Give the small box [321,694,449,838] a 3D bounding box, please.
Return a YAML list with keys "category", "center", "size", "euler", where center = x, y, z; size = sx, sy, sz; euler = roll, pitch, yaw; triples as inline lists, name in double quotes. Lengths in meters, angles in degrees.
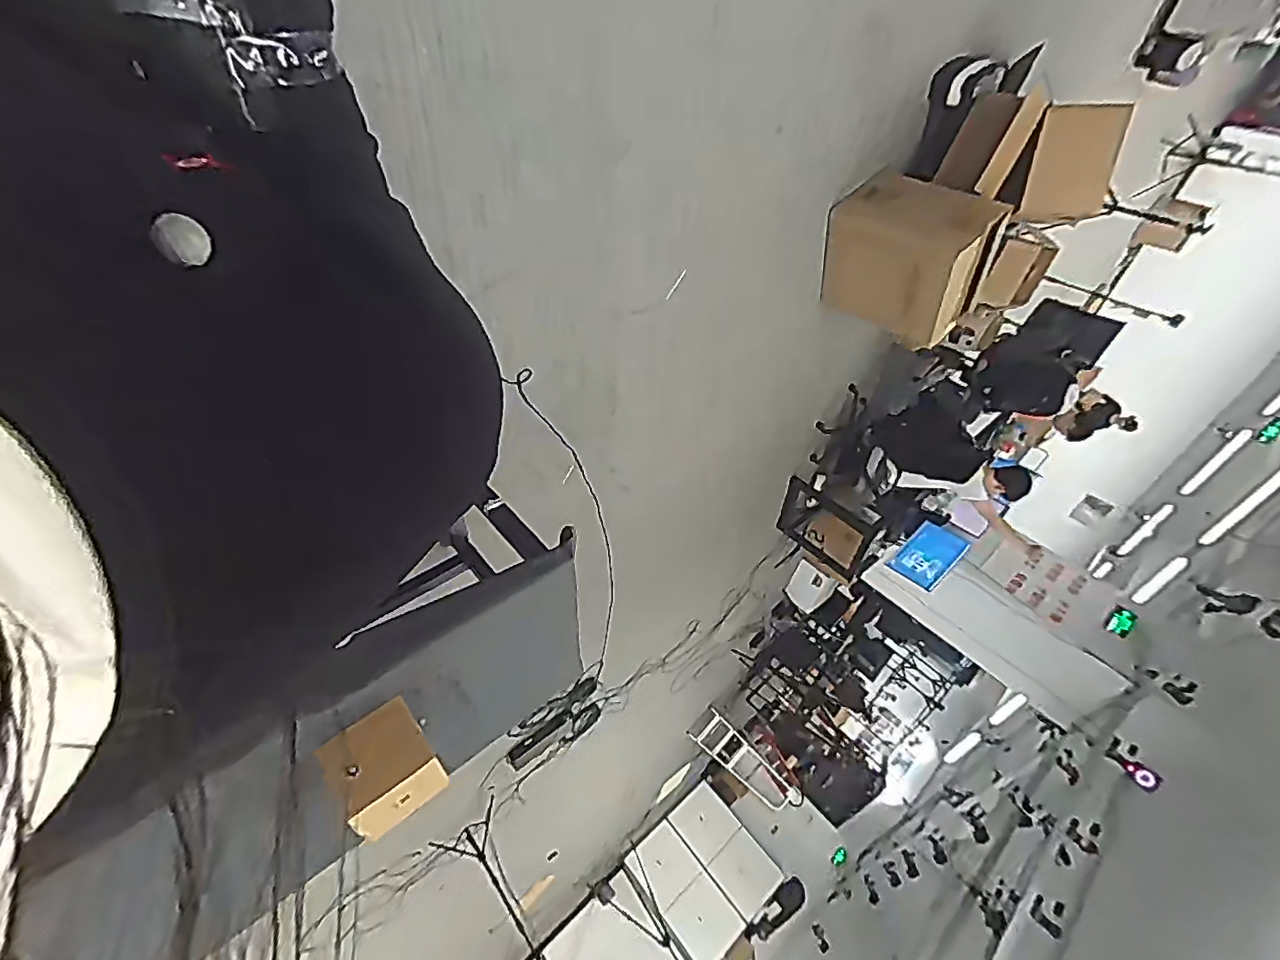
- category: "small box"
  center: [-0.529, 0.587, 1.119]
  size: [0.179, 0.176, 0.168]
  euler: [-32, 146, -30]
